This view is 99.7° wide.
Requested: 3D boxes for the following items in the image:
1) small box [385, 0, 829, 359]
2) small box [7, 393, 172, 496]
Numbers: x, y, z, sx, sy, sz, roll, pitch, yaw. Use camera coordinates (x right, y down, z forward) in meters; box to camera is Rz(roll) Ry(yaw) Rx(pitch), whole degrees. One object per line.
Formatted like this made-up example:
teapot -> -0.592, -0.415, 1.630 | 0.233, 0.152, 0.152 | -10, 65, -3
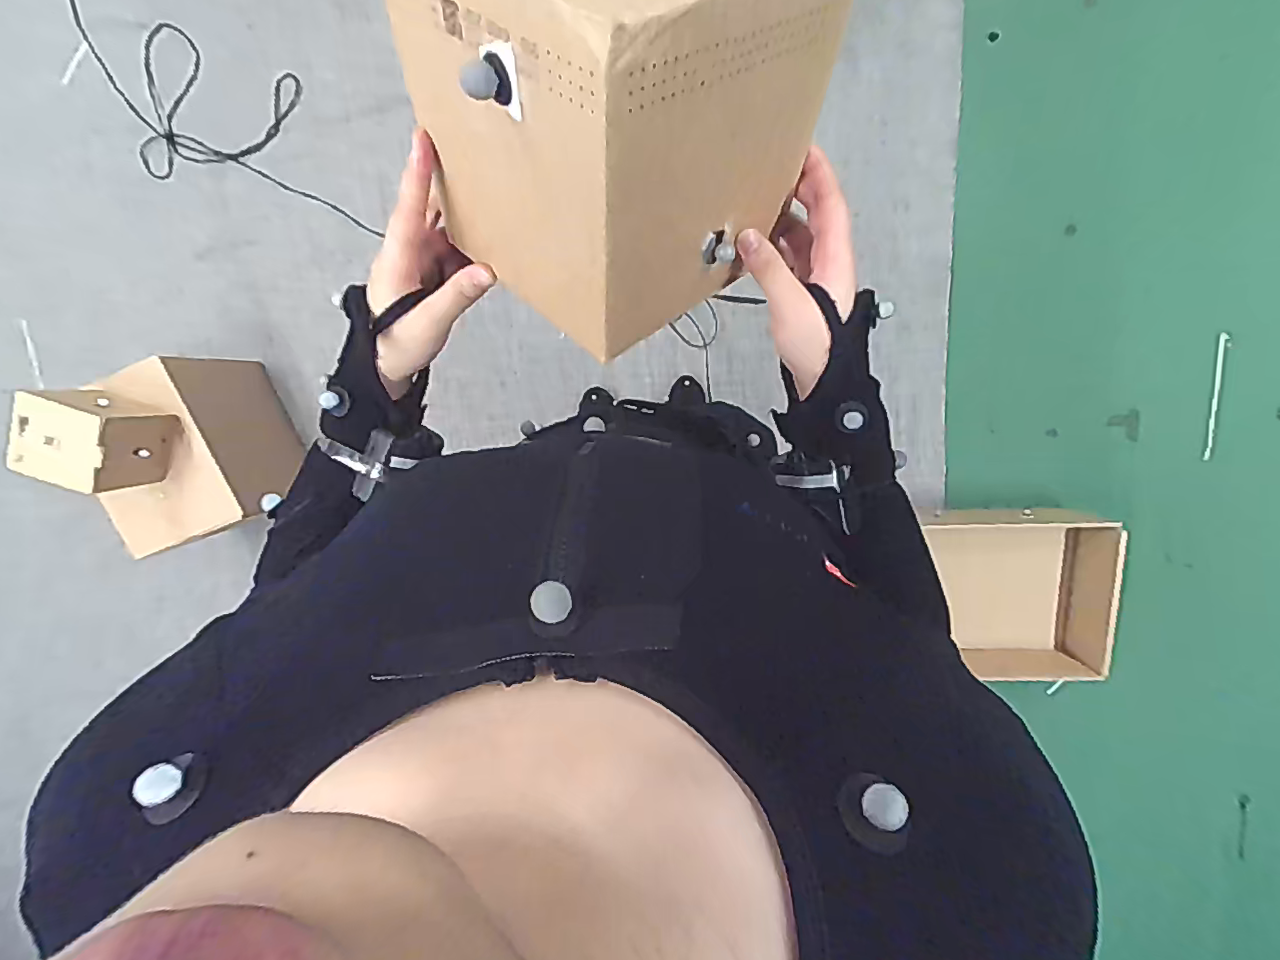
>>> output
small box -> -0.017, -0.213, 0.322 | 0.179, 0.176, 0.168 | -38, 65, -26
small box -> -1.153, -0.084, 1.145 | 0.179, 0.176, 0.168 | 18, 100, -2
